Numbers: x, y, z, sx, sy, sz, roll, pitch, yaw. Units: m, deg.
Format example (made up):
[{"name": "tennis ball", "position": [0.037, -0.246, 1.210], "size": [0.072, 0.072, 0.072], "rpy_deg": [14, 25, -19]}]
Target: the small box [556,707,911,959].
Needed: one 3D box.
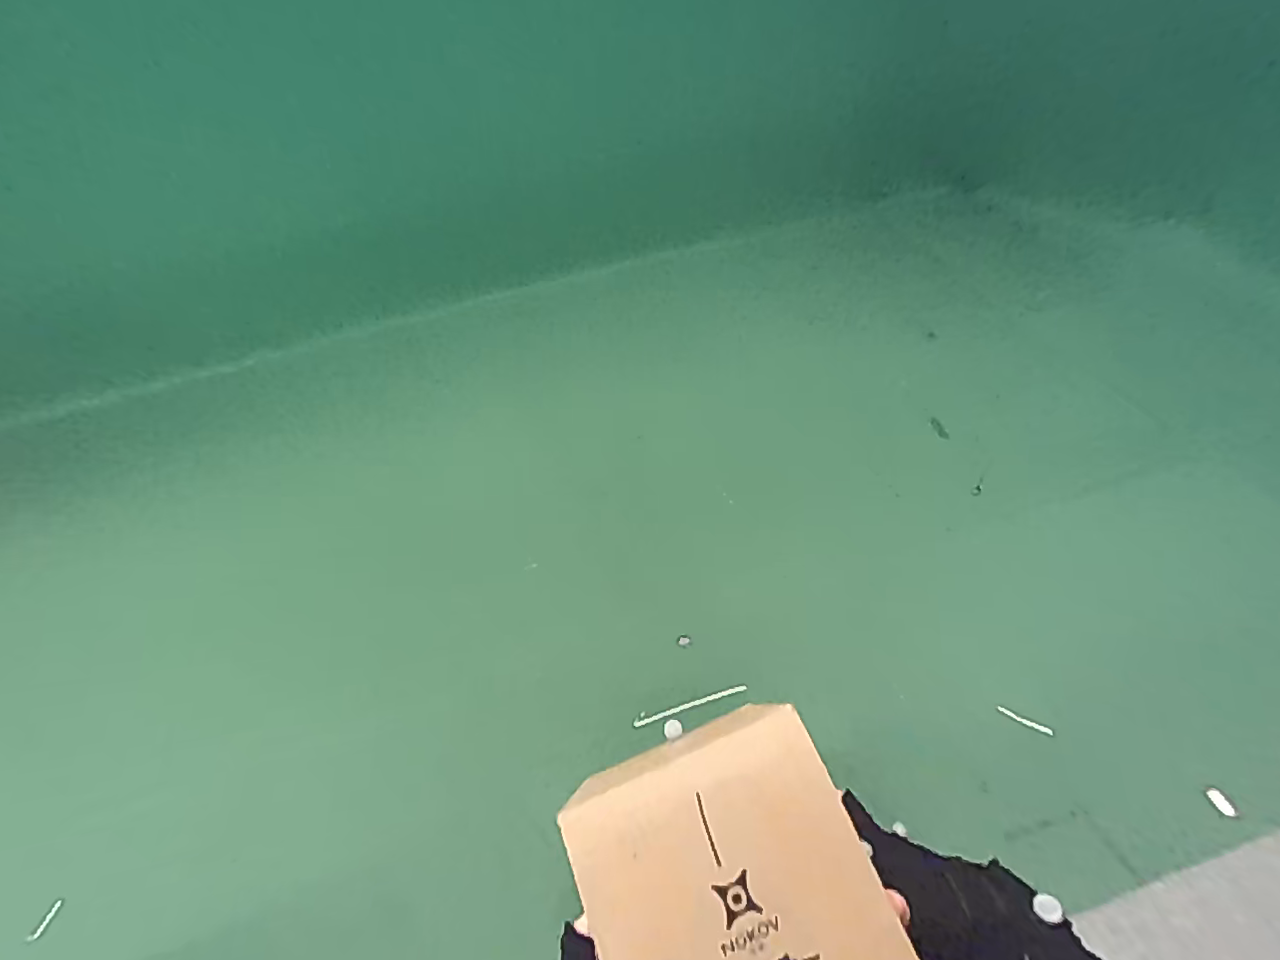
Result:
[{"name": "small box", "position": [0.056, 0.277, 0.382], "size": [0.168, 0.176, 0.179], "rpy_deg": [-21, 69, -8]}]
